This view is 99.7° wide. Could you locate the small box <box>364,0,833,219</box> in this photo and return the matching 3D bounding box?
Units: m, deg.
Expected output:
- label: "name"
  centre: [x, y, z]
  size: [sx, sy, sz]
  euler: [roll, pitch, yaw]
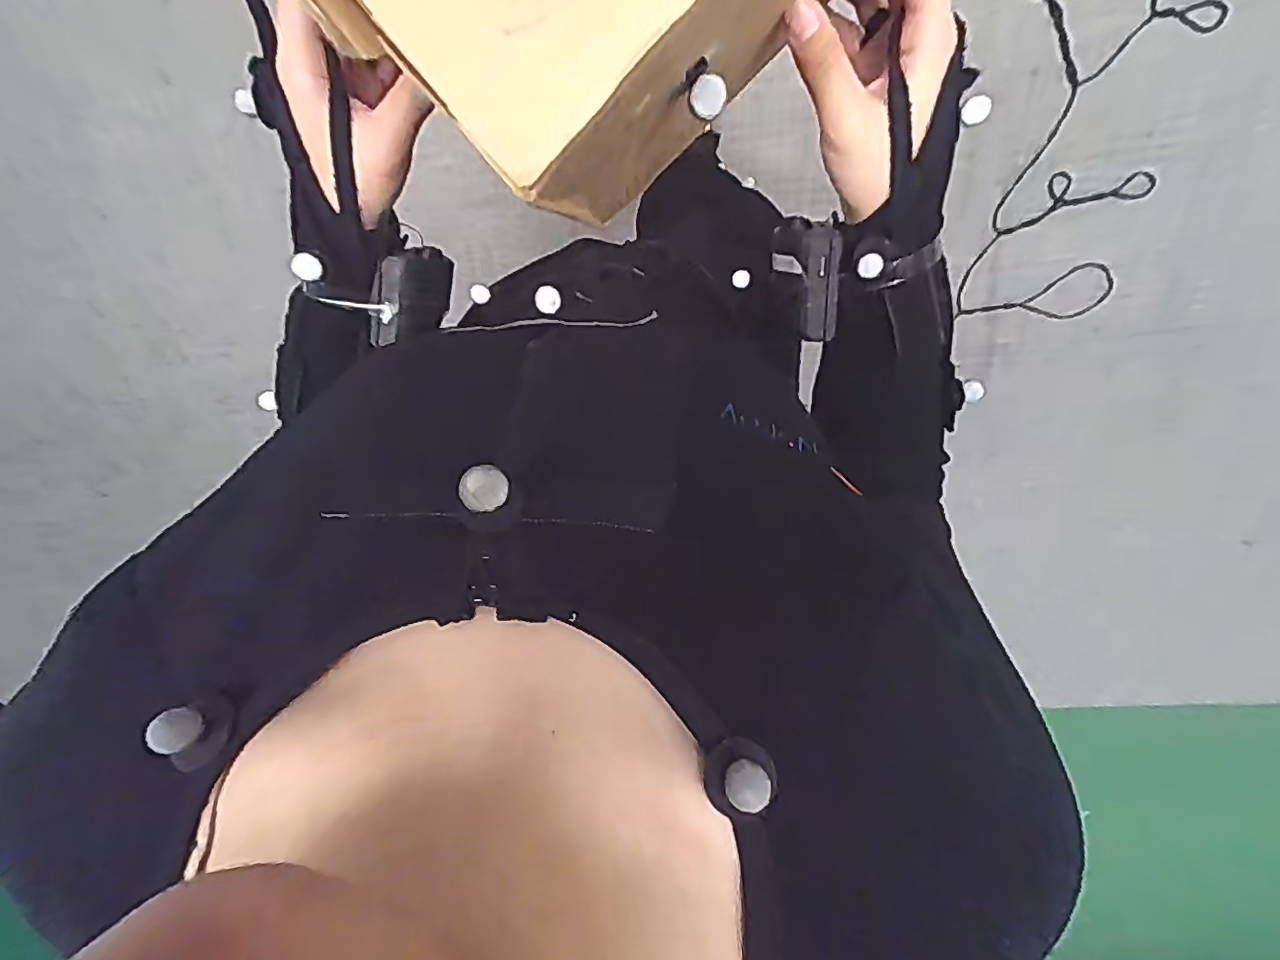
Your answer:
- label: "small box"
  centre: [-0.015, -0.230, 0.211]
  size: [0.179, 0.176, 0.168]
  euler: [-39, 103, 18]
